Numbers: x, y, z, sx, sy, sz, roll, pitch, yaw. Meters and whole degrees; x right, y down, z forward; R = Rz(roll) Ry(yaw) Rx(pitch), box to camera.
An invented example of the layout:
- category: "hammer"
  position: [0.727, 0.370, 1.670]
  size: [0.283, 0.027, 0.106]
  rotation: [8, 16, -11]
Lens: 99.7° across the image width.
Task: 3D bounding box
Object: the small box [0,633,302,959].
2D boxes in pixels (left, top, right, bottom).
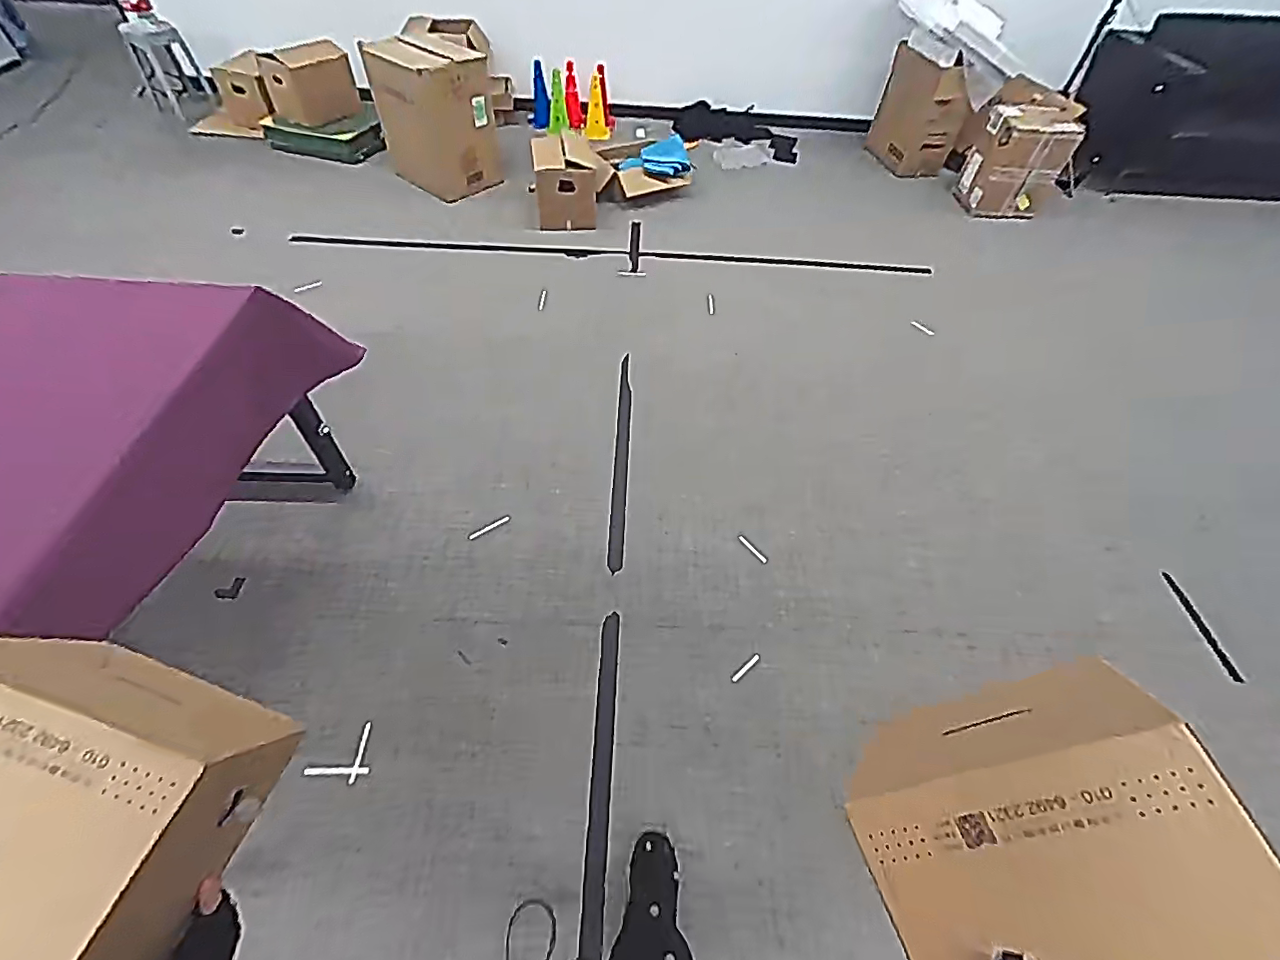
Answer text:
- category: "small box"
  position: [-0.341, 0.196, 0.310]
  size: [0.168, 0.179, 0.176]
  rotation: [27, 66, -5]
